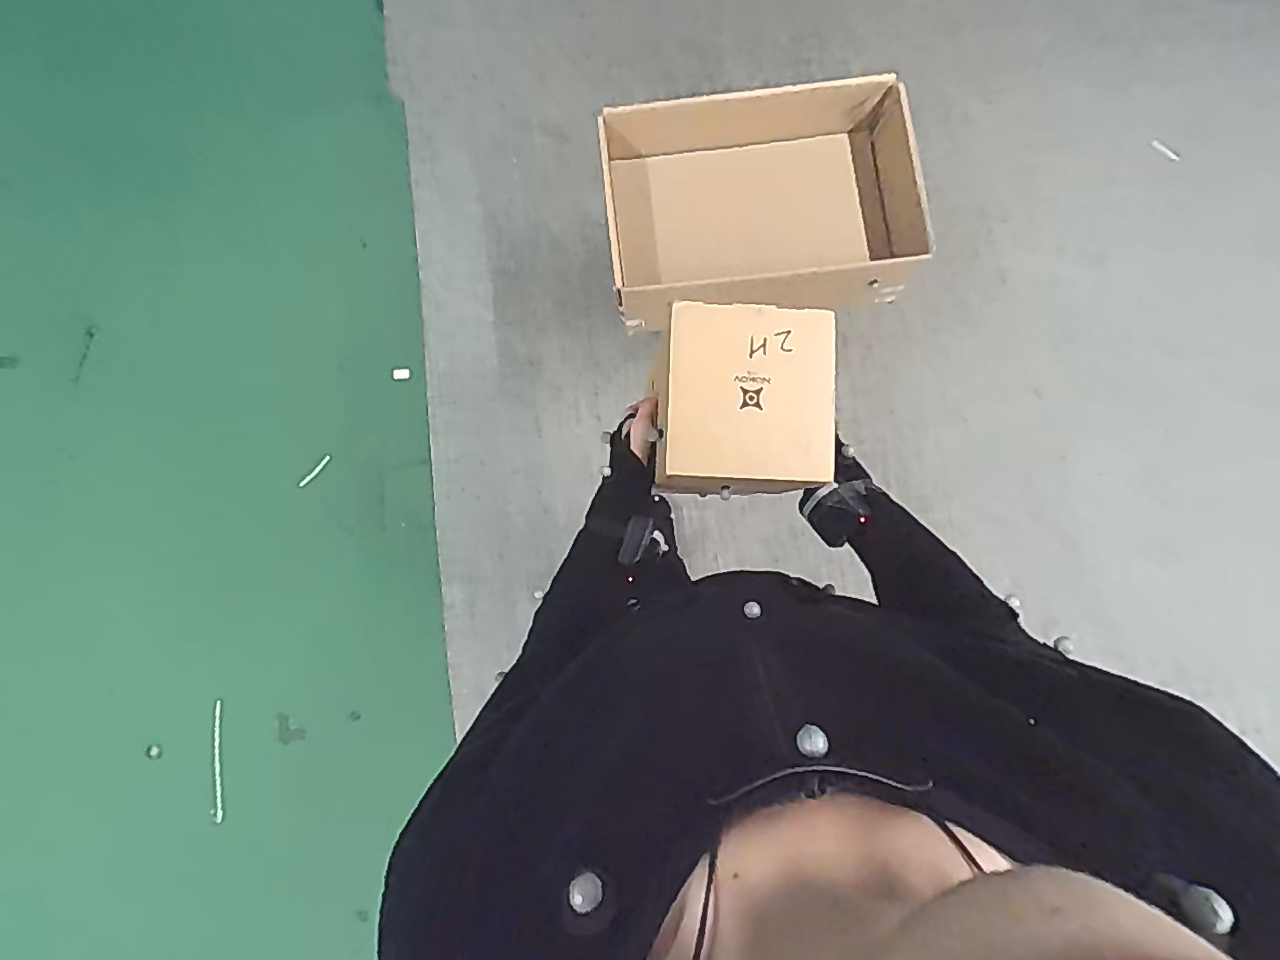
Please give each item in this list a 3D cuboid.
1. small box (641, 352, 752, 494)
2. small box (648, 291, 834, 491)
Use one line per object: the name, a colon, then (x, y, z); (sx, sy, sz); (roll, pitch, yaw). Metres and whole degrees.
small box: (0.093, -0.070, 0.757); (0.179, 0.176, 0.168); (2, 84, -3)
small box: (0.098, -0.083, 0.592); (0.168, 0.176, 0.179); (3, 83, -3)
